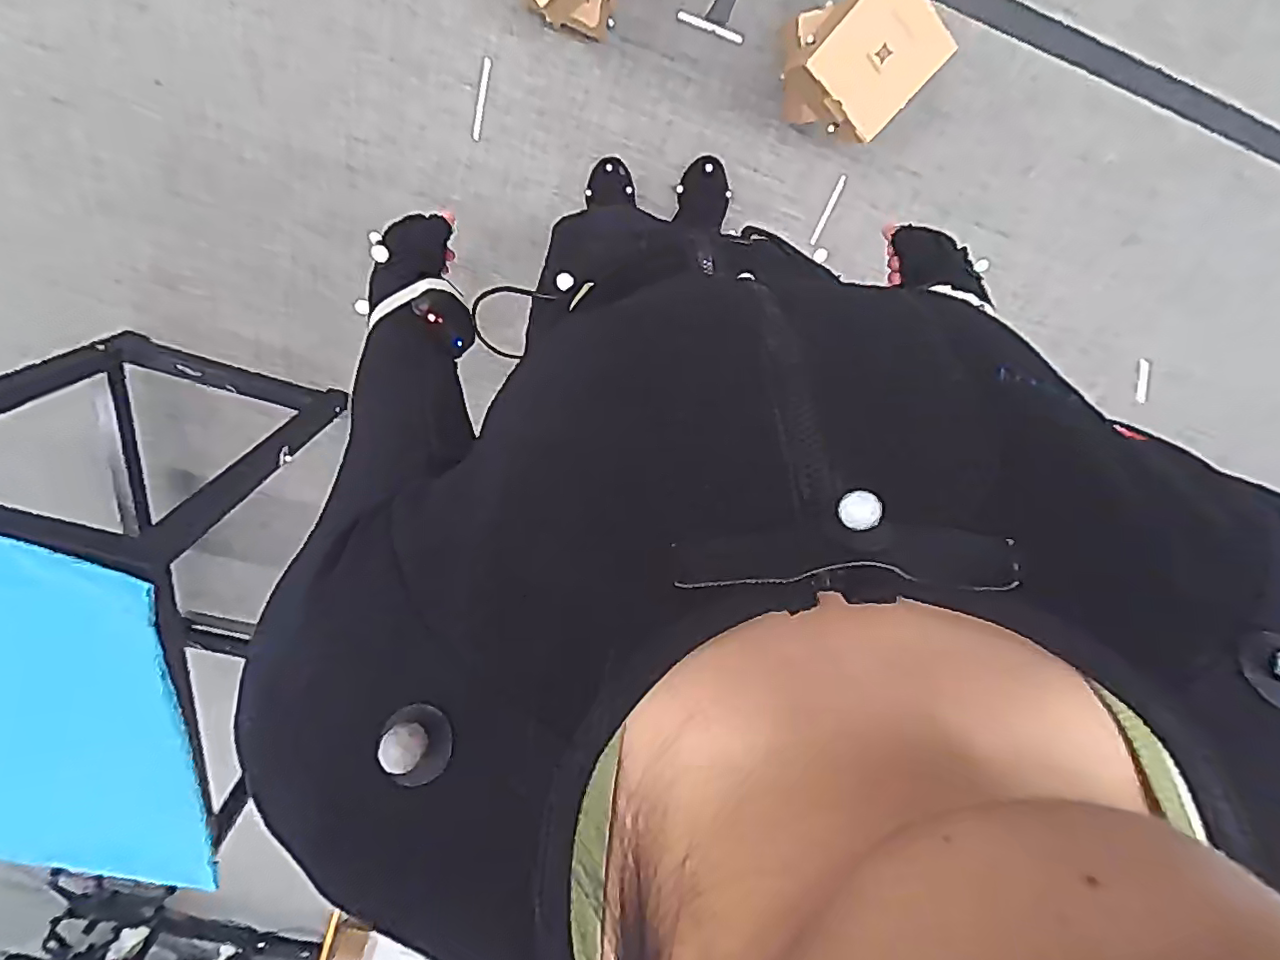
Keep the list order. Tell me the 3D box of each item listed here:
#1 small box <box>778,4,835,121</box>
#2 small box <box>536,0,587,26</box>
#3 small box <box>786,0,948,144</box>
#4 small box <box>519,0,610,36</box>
[{"bbox_3d":[0.371,-0.812,1.054,0.179,0.176,0.168,-9,124,7],"label":"small box"},{"bbox_3d":[-0.131,-0.860,0.829,0.168,0.176,0.179,-29,117,18],"label":"small box"},{"bbox_3d":[0.371,-0.713,0.923,0.168,0.176,0.179,37,116,-23],"label":"small box"},{"bbox_3d":[-0.134,-0.940,0.977,0.179,0.176,0.168,19,120,-10],"label":"small box"}]
